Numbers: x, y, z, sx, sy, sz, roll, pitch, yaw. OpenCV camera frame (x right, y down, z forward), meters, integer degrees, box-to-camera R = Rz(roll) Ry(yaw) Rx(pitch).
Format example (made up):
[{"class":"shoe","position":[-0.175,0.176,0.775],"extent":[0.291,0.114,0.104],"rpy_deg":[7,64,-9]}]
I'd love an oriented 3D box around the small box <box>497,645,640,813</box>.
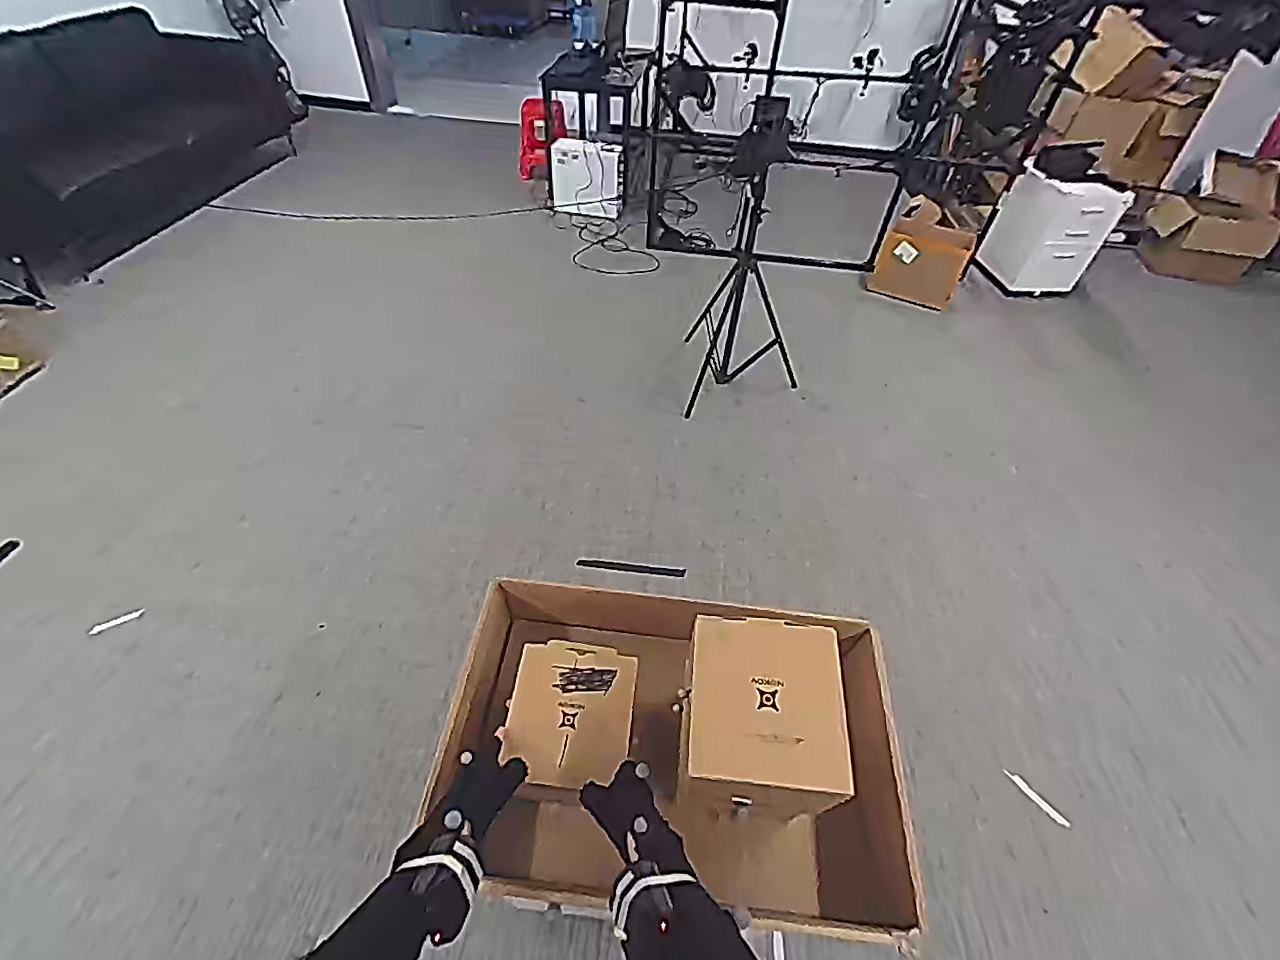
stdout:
[{"class":"small box","position":[-0.095,0.362,0.781],"extent":[0.168,0.176,0.179],"rpy_deg":[7,53,1]}]

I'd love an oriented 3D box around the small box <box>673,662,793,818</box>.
[{"class":"small box","position":[0.146,0.379,0.783],"extent":[0.179,0.176,0.168],"rpy_deg":[5,52,3]}]

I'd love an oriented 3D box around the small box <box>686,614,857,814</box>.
[{"class":"small box","position":[0.143,0.283,0.651],"extent":[0.168,0.176,0.179],"rpy_deg":[3,52,5]}]
